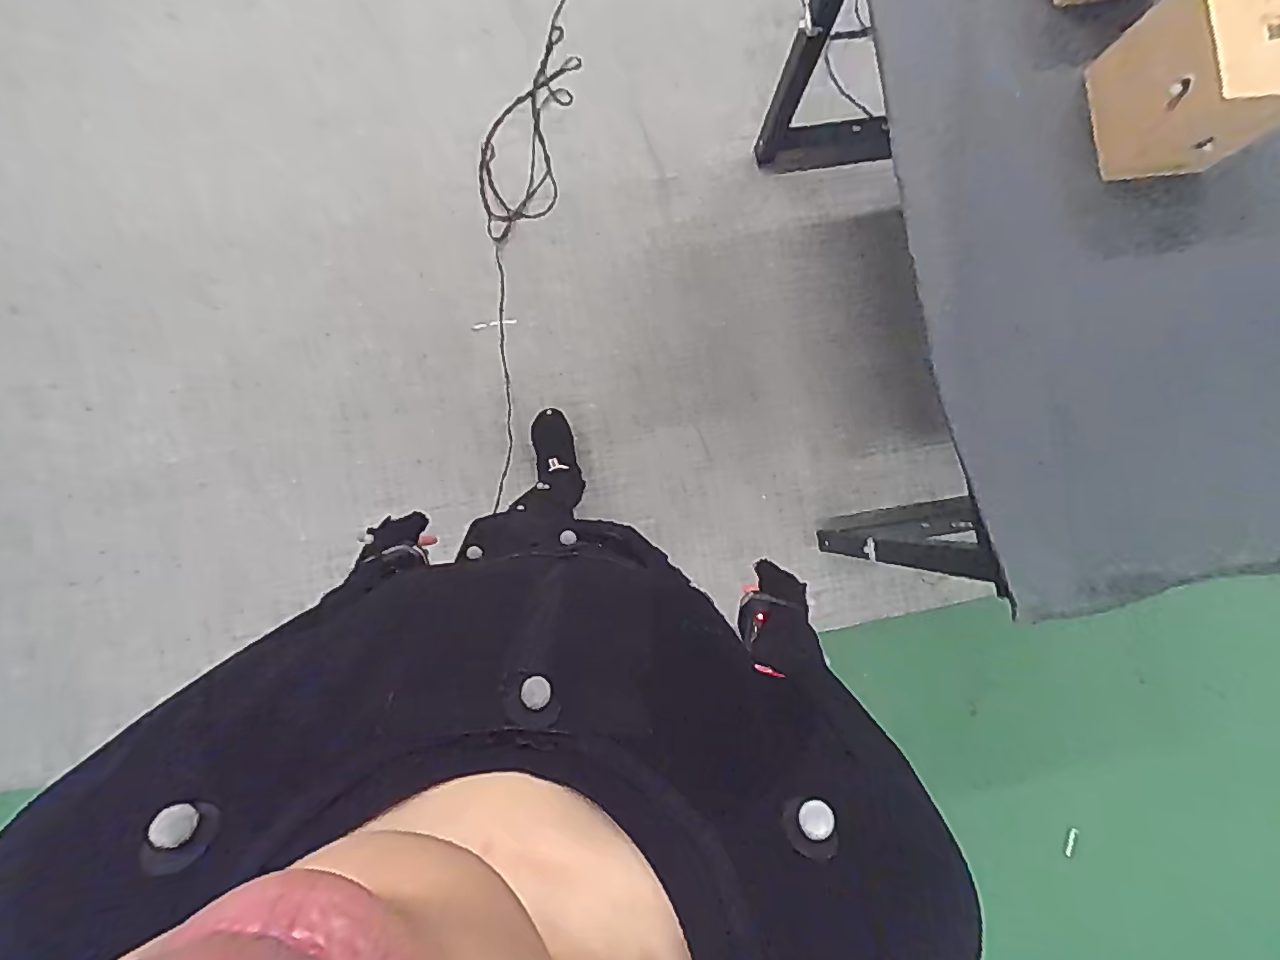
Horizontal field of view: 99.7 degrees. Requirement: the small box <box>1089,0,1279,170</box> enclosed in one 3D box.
[{"bbox_3d":[0.766,-0.549,0.735,0.168,0.176,0.179,-7,87,-3],"label":"small box"}]
